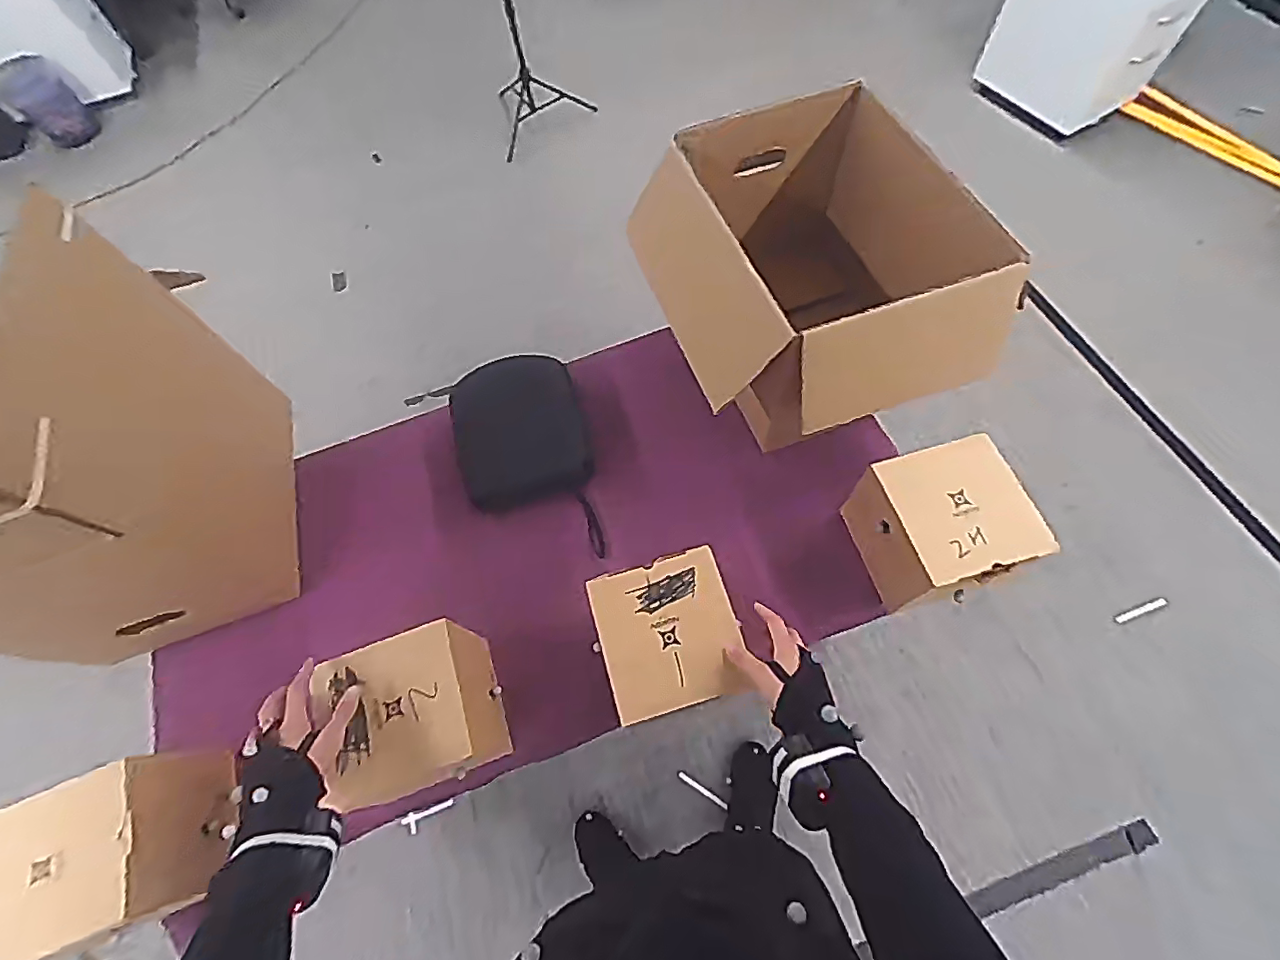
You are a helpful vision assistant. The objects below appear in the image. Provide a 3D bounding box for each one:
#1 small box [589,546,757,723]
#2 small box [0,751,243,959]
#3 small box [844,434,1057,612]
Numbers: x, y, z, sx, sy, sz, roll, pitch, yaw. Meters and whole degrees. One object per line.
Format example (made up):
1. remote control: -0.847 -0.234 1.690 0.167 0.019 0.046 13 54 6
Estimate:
1. small box: 0.039 0.212 0.721 0.168 0.176 0.179 -16 67 -3
2. small box: -0.635 0.452 0.662 0.179 0.176 0.168 -22 66 -7
3. small box: 0.411 0.066 0.756 0.168 0.176 0.179 -16 65 -2
